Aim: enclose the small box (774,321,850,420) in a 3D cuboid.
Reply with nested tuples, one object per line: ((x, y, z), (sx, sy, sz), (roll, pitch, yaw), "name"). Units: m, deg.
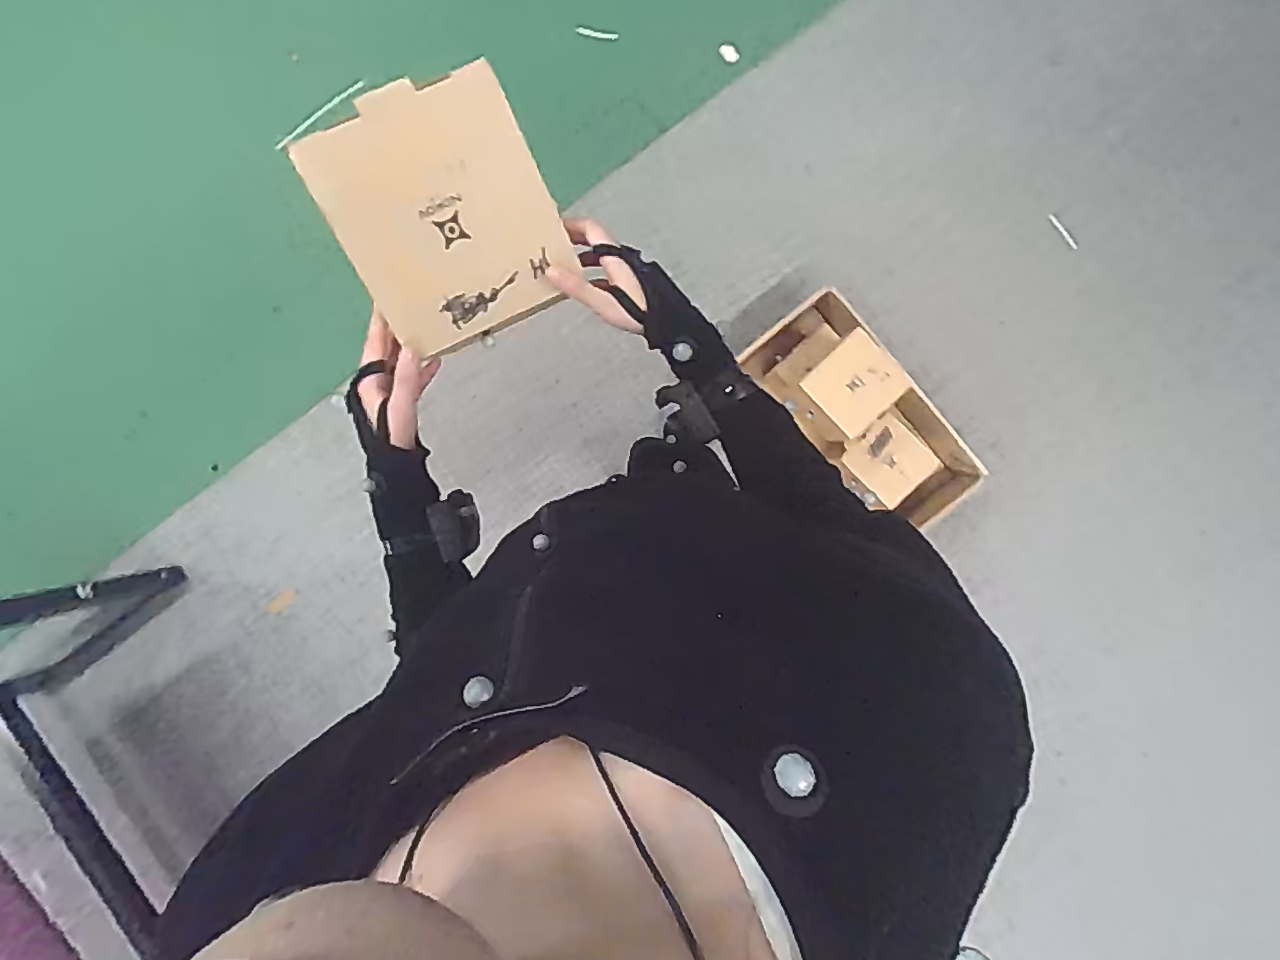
((0.464, -0.265, 1.362), (0.168, 0.176, 0.179), (-42, 90, 5), "small box")

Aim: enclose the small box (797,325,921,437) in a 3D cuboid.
((0.471, -0.210, 1.200), (0.179, 0.176, 0.168), (-43, 91, 5), "small box")

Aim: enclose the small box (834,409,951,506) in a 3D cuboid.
((0.620, -0.052, 1.357), (0.168, 0.176, 0.179), (-45, 88, 4), "small box")

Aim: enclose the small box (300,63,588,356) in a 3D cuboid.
((-0.164, -0.230, 0.511), (0.168, 0.176, 0.179), (-27, 107, -1), "small box")
